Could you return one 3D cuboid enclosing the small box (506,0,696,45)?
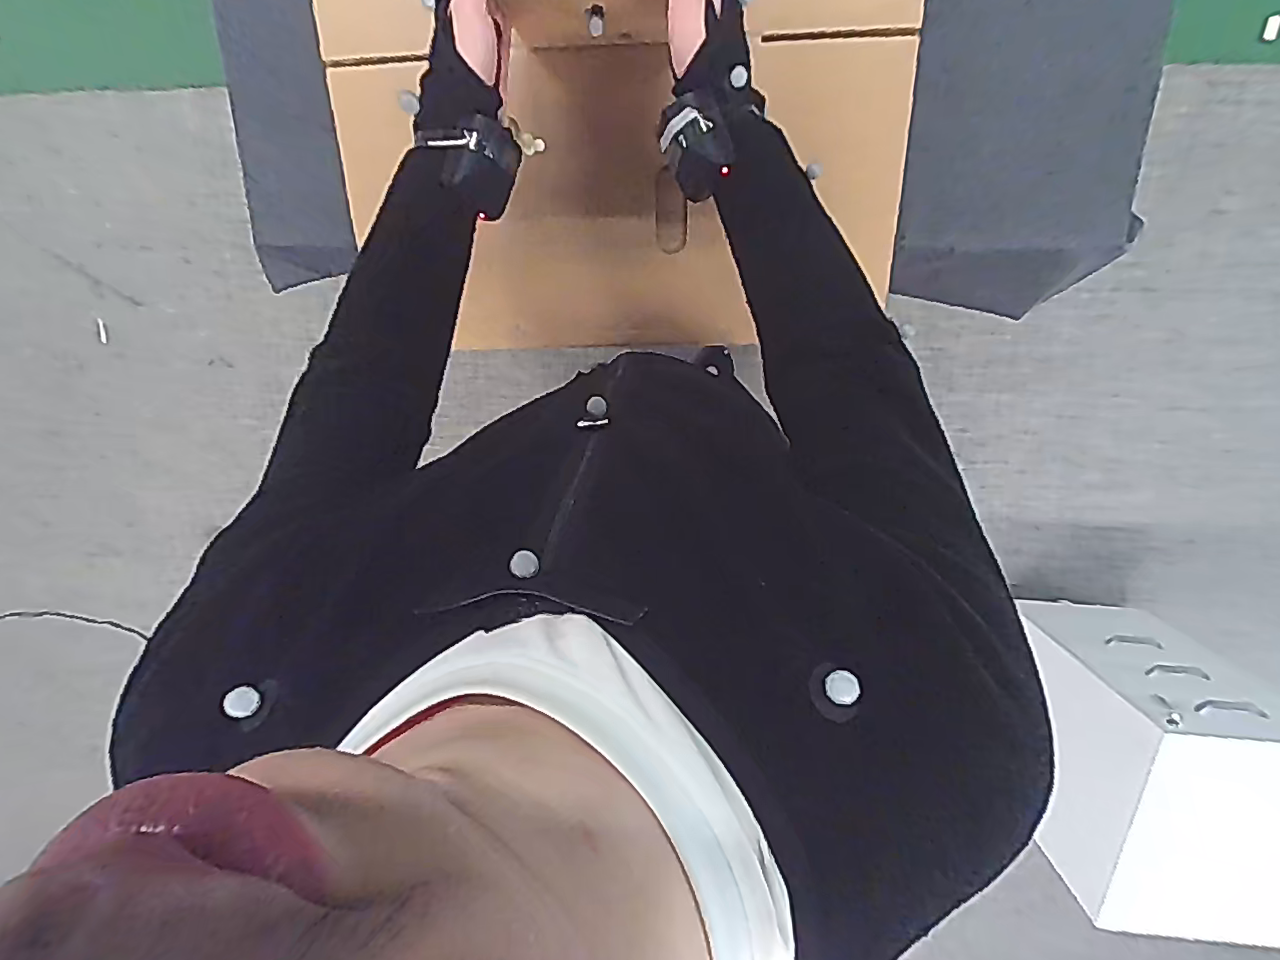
[{"bbox_3d":[-0.036,-0.492,0.446,0.168,0.176,0.179,-2,111,5],"label":"small box"}]
